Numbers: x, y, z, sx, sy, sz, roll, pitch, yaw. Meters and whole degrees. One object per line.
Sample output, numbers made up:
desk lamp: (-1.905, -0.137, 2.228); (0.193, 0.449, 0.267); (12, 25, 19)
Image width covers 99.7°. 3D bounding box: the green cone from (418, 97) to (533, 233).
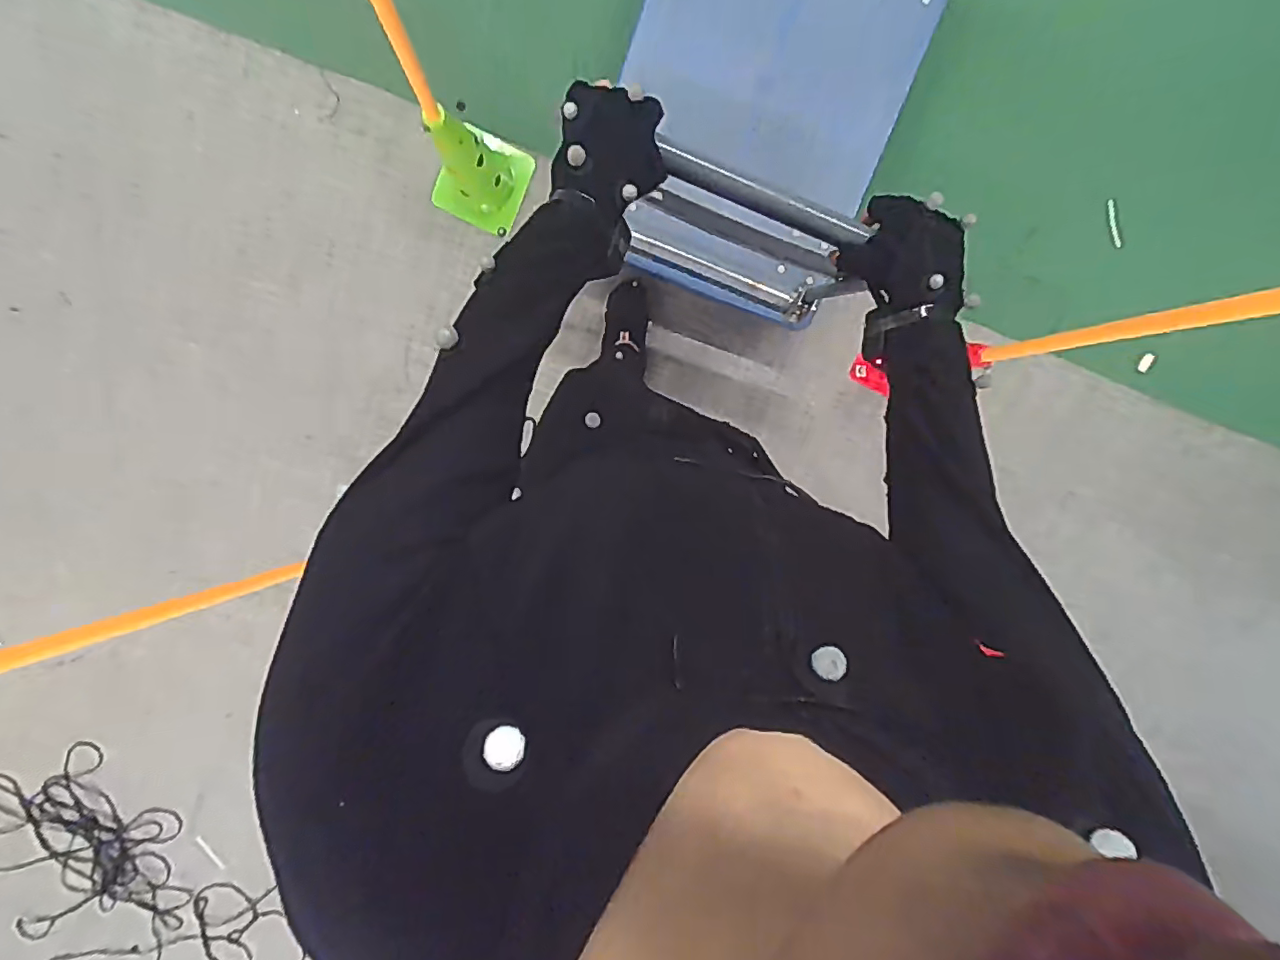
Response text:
green cone: (-0.374, -0.694, 1.134); (0.202, 0.368, 0.200); (24, 99, -6)
